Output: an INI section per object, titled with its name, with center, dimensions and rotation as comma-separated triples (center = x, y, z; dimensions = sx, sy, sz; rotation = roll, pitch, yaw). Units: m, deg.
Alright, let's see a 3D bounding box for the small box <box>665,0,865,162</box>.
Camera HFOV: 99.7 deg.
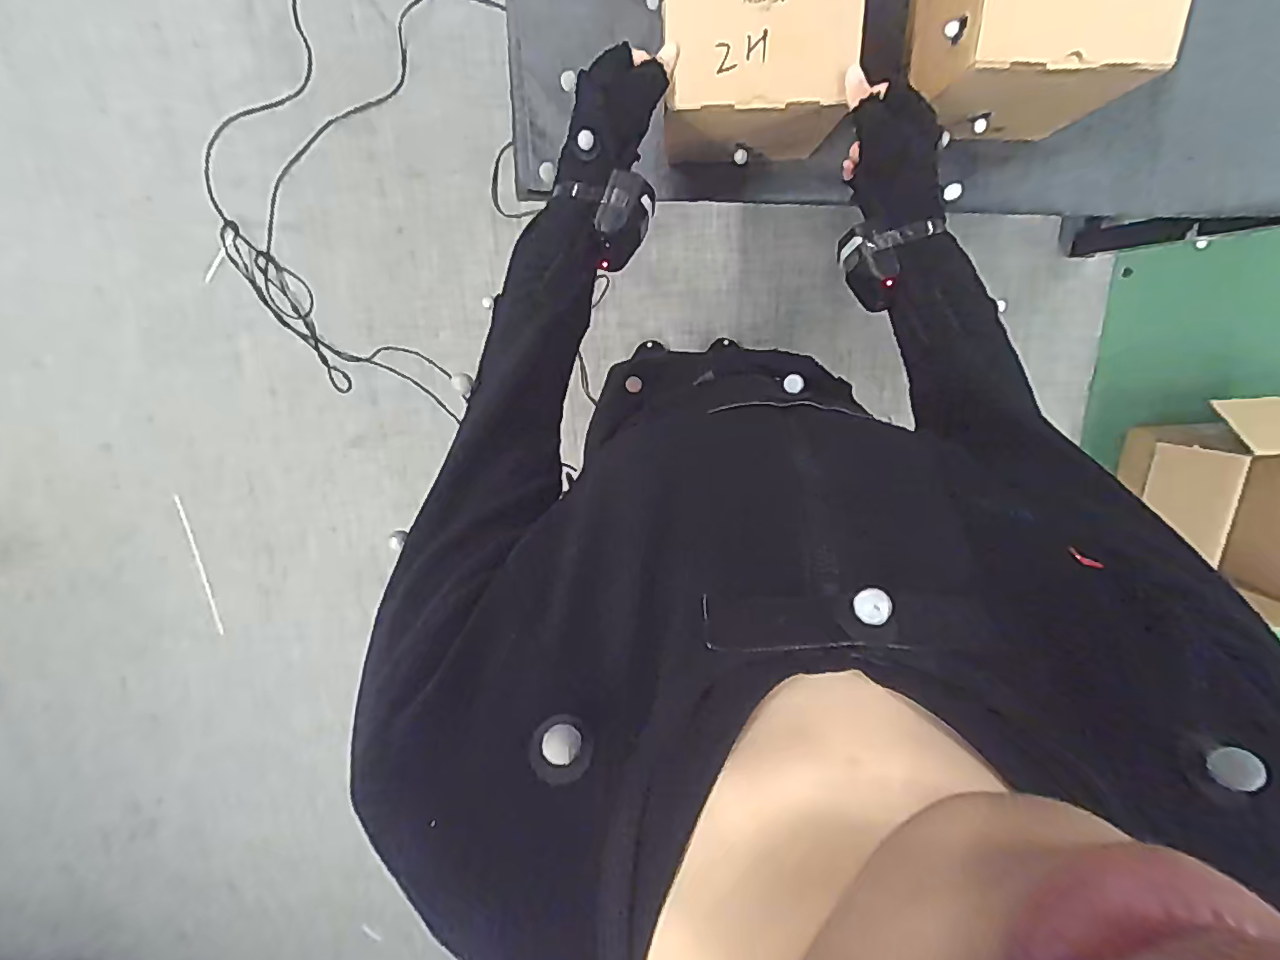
[small box]
center = 0.108, -0.432, 0.525
dimensions = 0.168, 0.176, 0.179
rotation = 0, 107, 3
